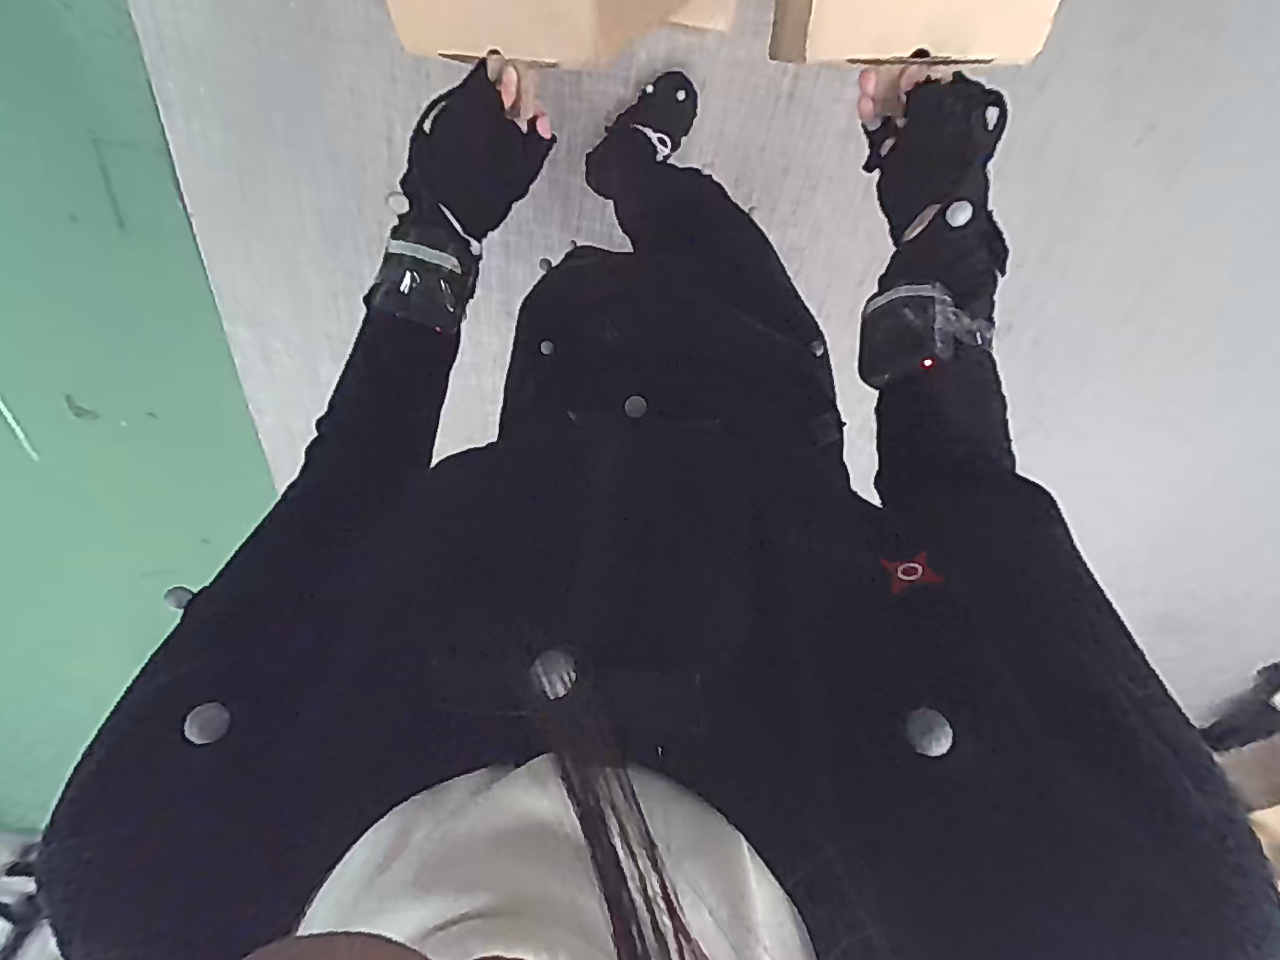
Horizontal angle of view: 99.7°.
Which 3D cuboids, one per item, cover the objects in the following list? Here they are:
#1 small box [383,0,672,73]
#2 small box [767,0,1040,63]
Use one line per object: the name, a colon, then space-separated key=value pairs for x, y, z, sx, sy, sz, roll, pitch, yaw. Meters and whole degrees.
small box: x=-0.074 y=-0.401 z=0.350 sx=0.168 sy=0.176 sz=0.179 roll=17 pitch=146 yaw=17
small box: x=0.194 y=-0.423 z=0.397 sx=0.168 sy=0.176 sz=0.179 roll=0 pitch=130 yaw=1
